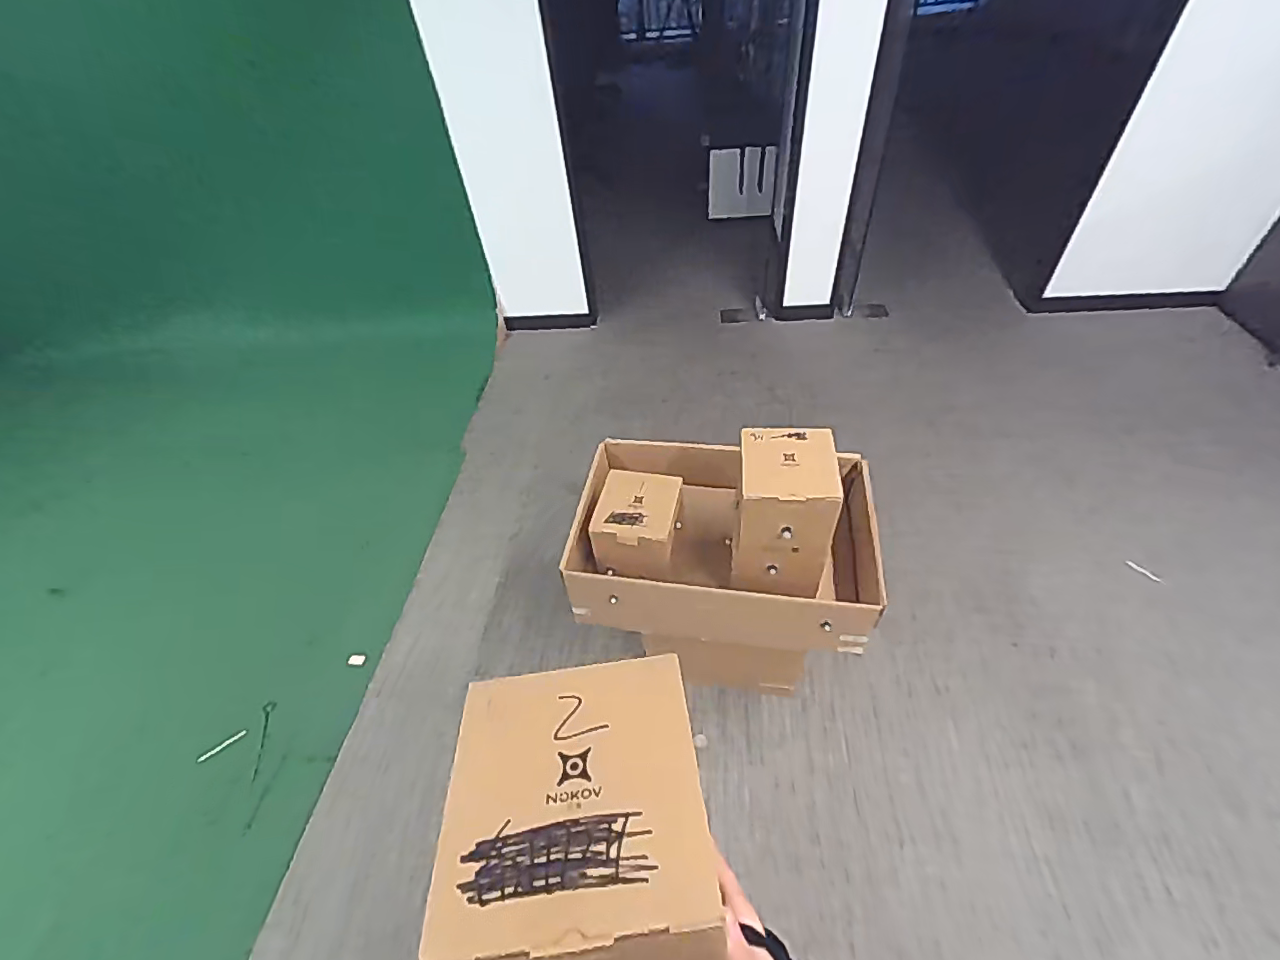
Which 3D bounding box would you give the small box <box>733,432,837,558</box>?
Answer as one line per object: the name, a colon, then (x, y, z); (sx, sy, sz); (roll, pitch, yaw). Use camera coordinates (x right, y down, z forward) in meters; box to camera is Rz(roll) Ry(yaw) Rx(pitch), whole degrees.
small box: (0.263, 0.030, 1.012); (0.168, 0.176, 0.179); (2, 48, 8)
